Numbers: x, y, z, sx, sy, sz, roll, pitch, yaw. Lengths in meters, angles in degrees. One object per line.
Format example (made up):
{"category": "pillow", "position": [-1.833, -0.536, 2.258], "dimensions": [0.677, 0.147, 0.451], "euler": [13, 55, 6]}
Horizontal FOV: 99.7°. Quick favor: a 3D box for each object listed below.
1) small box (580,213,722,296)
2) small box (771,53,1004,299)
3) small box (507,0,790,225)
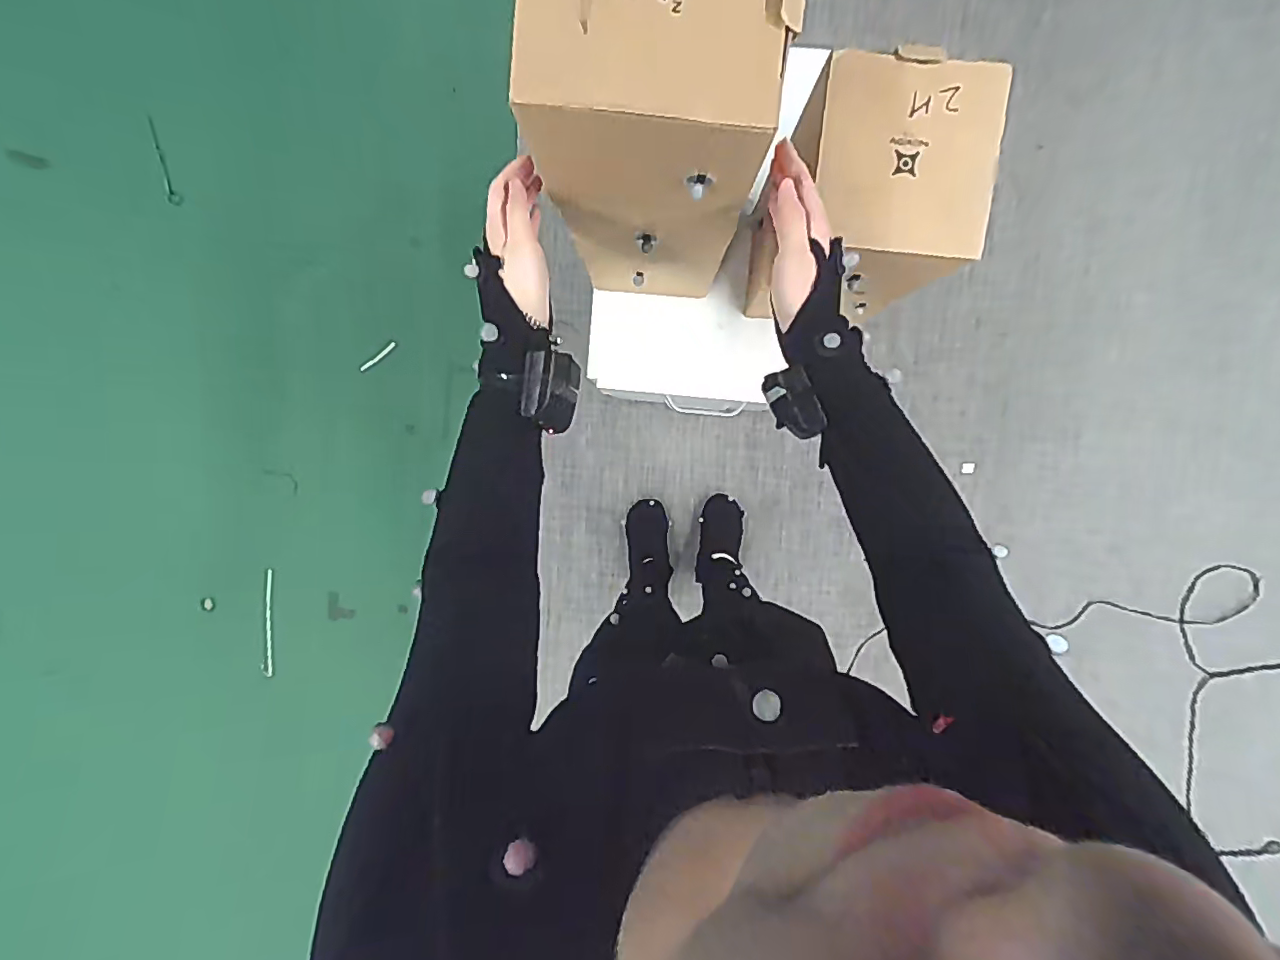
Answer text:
{"category": "small box", "position": [0.018, -0.361, 0.746], "dimensions": [0.179, 0.176, 0.168], "euler": [5, 96, -1]}
{"category": "small box", "position": [0.244, -0.305, 0.581], "dimensions": [0.168, 0.176, 0.179], "euler": [6, 96, 1]}
{"category": "small box", "position": [0.009, -0.317, 0.420], "dimensions": [0.179, 0.176, 0.168], "euler": [6, 95, 1]}
